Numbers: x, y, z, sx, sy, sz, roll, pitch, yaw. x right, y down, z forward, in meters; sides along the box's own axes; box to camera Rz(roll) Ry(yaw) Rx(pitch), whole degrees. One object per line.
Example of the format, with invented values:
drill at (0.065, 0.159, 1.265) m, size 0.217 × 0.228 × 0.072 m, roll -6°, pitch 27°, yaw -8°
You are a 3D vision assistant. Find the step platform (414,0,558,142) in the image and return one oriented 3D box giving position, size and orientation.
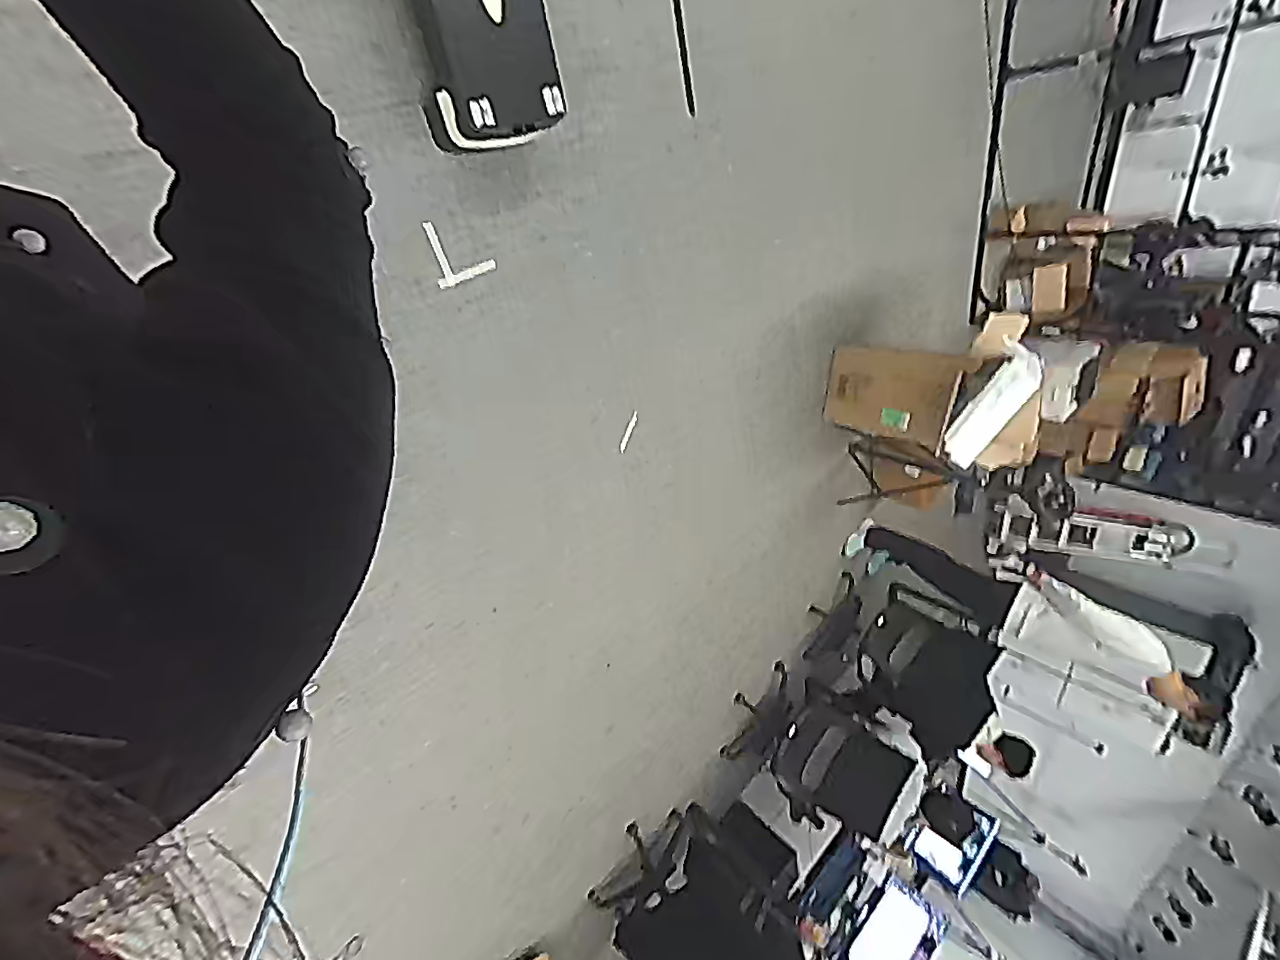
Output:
step platform at (-0.391, -1.130, 1.144) m, size 0.286 × 0.204 × 0.684 m, roll -28°, pitch 123°, yaw -31°
